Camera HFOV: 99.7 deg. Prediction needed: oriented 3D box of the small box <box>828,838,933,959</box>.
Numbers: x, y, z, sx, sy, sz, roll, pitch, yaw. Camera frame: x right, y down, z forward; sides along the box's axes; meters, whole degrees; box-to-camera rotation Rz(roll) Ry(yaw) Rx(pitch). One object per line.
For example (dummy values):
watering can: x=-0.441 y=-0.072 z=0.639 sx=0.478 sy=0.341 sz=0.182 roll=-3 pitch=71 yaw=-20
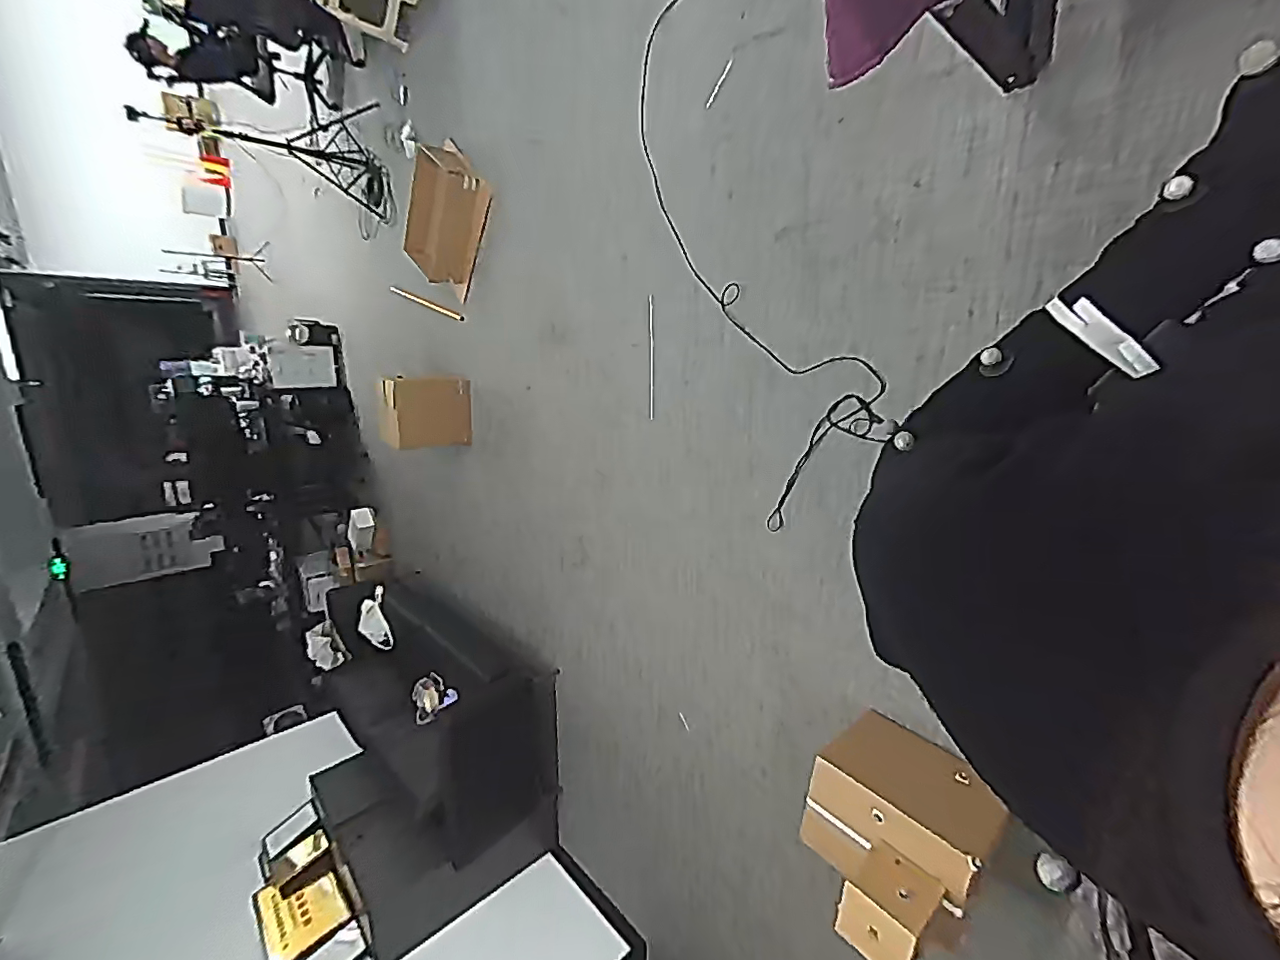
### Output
small box: x=0.580 y=1.020 z=1.299 sx=0.168 sy=0.176 sz=0.179 roll=22 pitch=117 yaw=44
